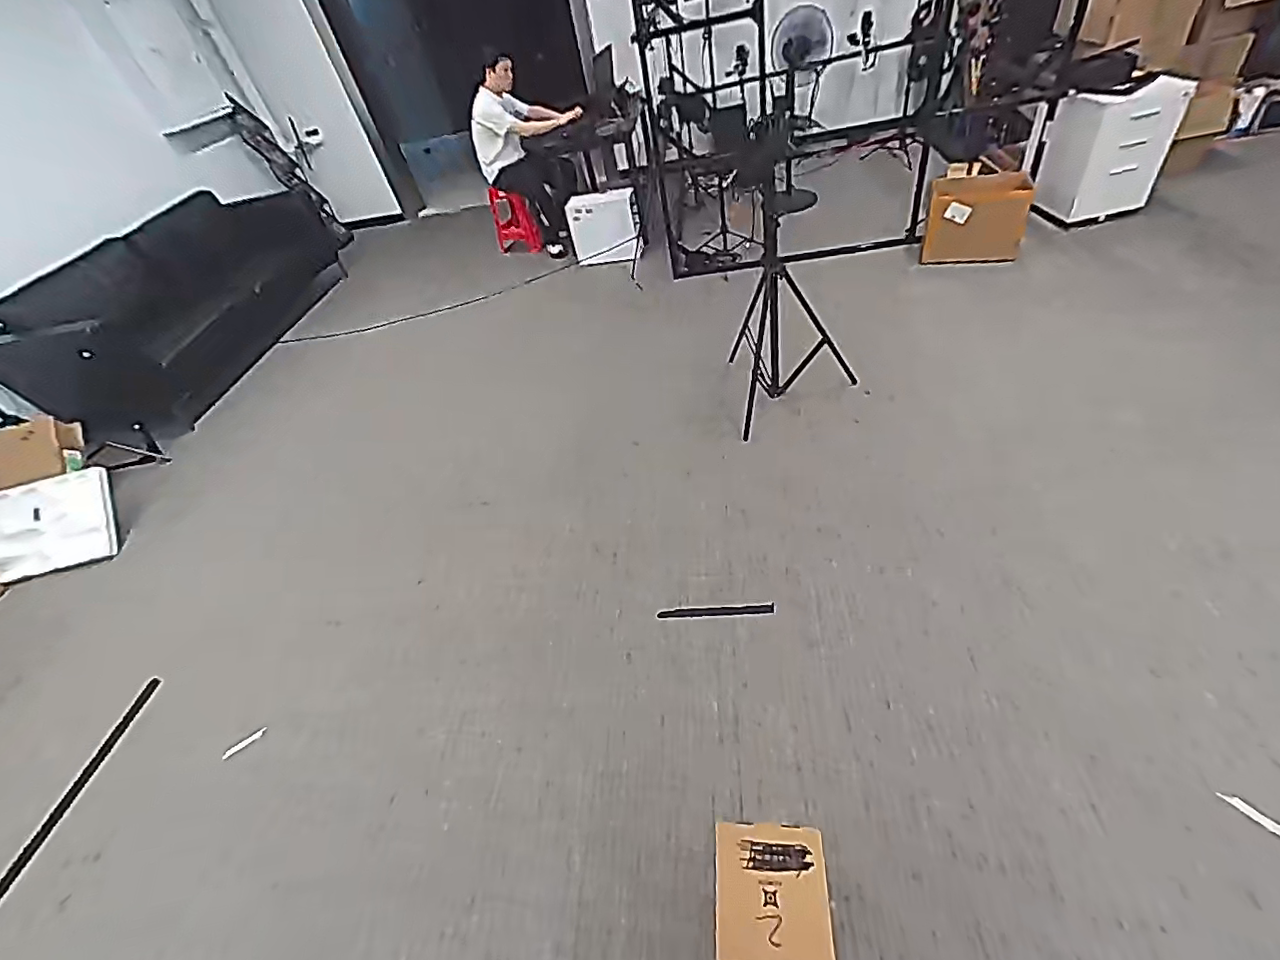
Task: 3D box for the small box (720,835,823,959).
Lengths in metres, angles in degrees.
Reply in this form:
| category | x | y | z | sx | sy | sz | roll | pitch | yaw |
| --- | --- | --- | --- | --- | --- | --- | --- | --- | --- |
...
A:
| category | x | y | z | sx | sy | sz | roll | pitch | yaw |
| --- | --- | --- | --- | --- | --- | --- | --- | --- | --- |
| small box | 0.232 | 0.771 | 0.980 | 0.168 | 0.176 | 0.179 | -4 | 44 | 11 |
